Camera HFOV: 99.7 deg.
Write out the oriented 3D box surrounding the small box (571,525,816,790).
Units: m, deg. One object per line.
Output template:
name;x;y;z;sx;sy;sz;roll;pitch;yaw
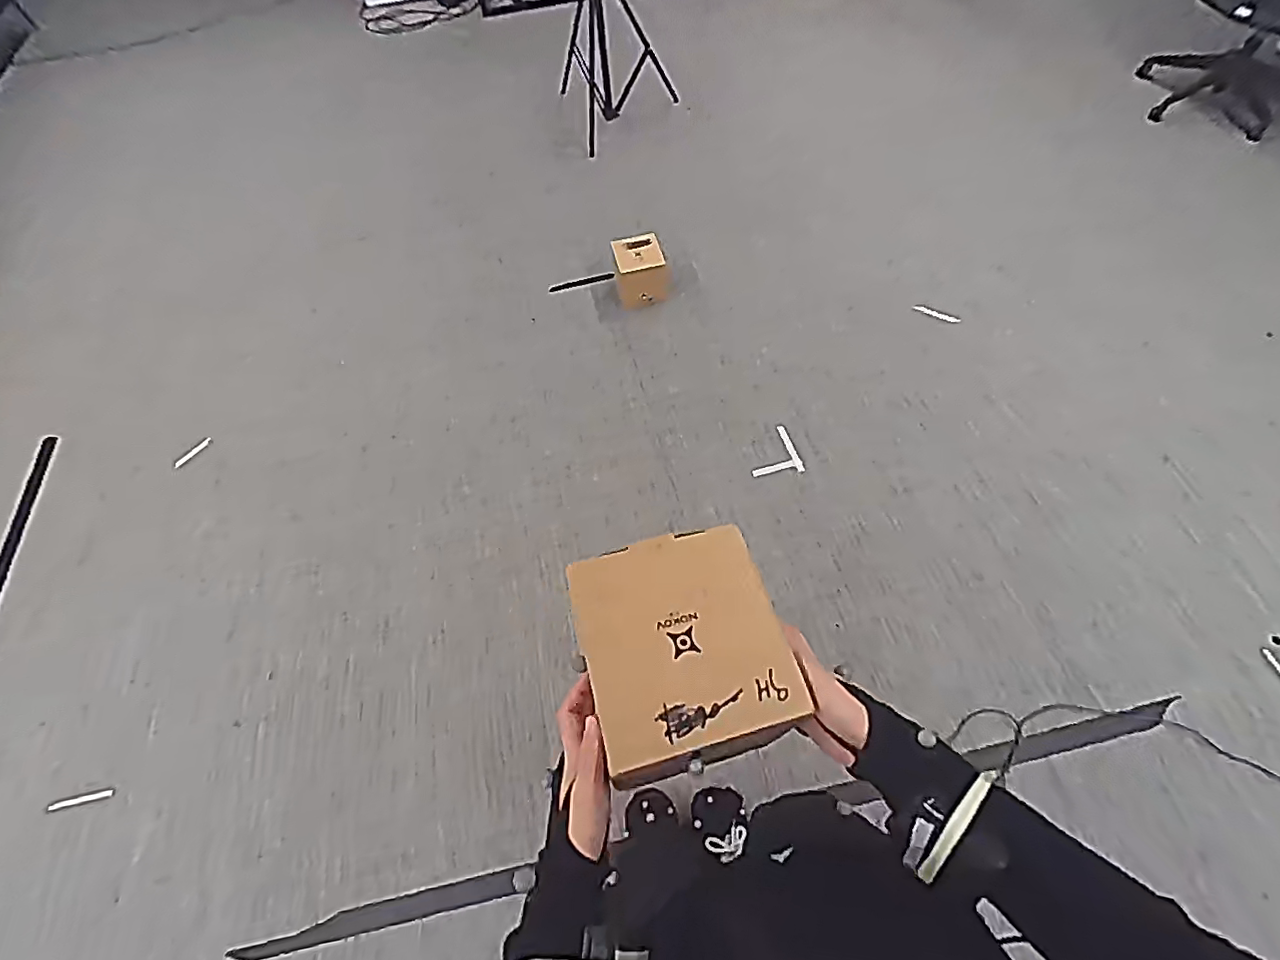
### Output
small box;0.034;0.171;0.513;0.168;0.176;0.179;-12;57;-9
